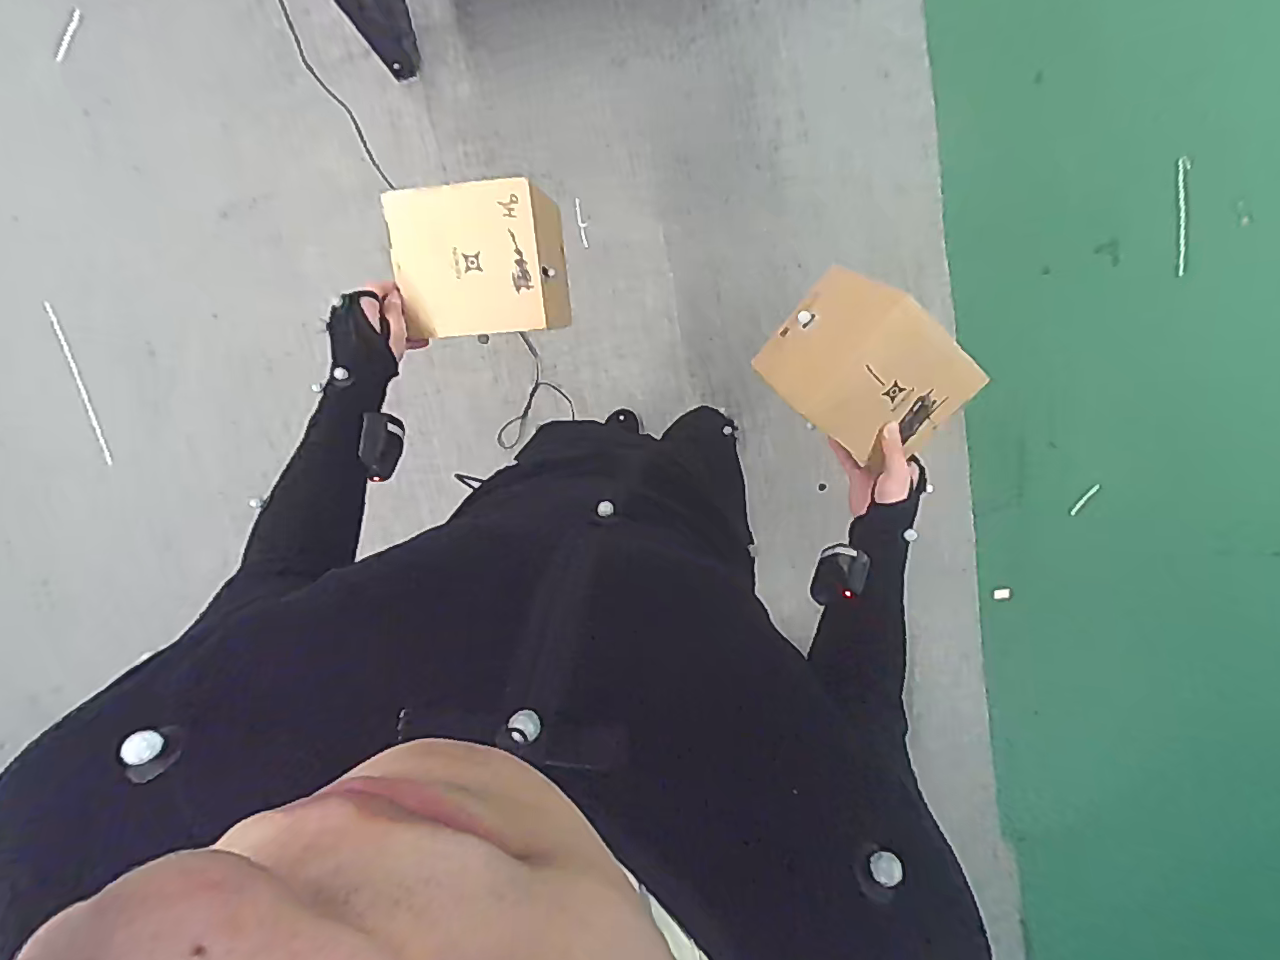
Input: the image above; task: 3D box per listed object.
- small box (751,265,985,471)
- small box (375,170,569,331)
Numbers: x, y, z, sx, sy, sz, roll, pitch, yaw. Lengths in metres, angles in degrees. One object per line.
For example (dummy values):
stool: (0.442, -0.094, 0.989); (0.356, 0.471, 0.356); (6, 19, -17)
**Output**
small box: (0.276, -0.148, 0.686); (0.179, 0.176, 0.168); (29, 111, -26)
small box: (-0.202, -0.283, 0.700); (0.179, 0.176, 0.168); (-3, 107, 6)
